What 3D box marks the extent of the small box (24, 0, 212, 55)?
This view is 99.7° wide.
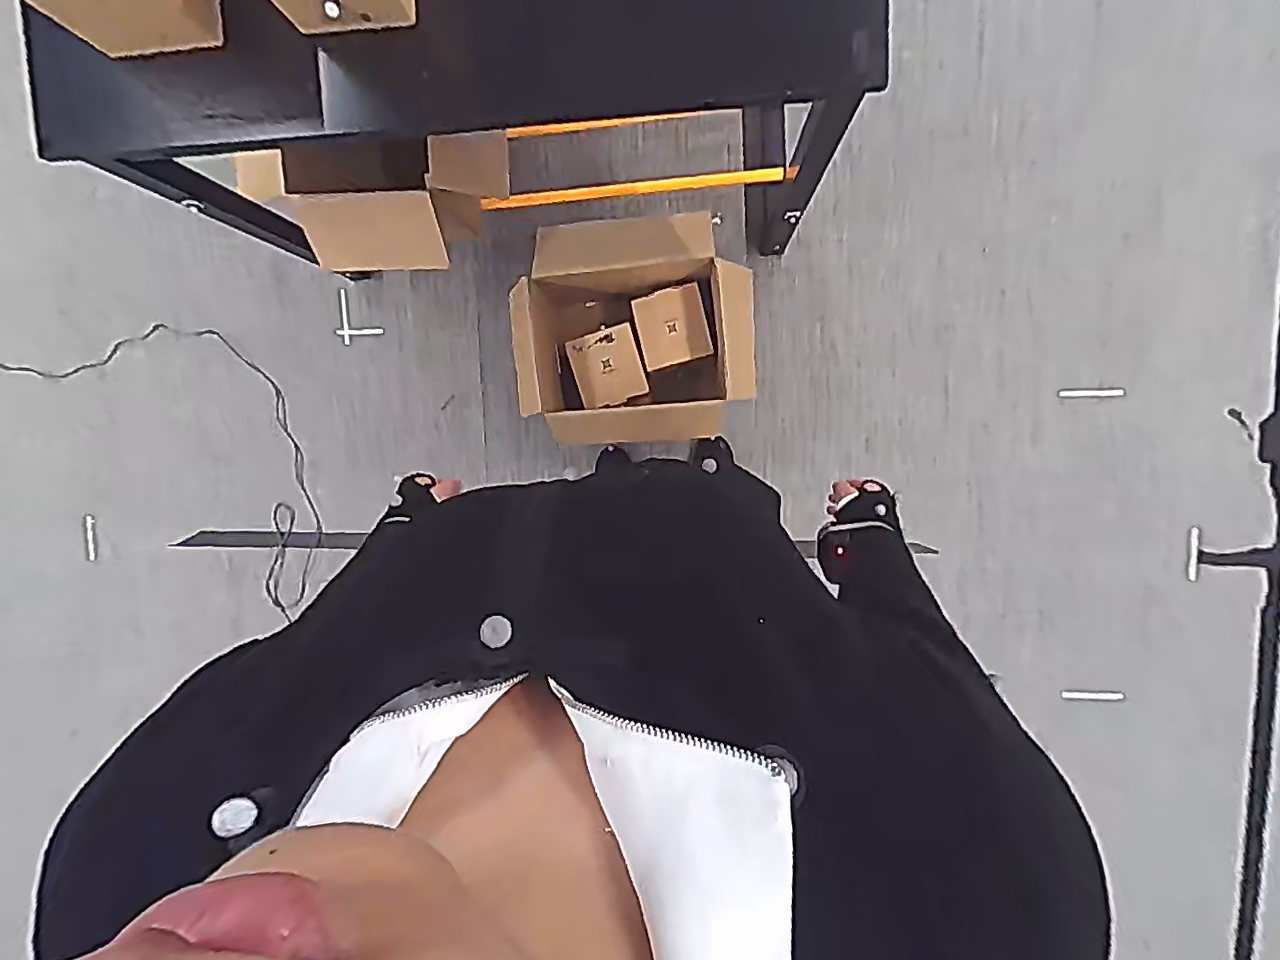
[{"bbox_3d":[-0.679,-0.678,0.676,0.179,0.176,0.168,-2,94,4],"label":"small box"}]

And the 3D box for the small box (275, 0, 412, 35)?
[{"bbox_3d":[-0.395,-0.692,0.653,0.168,0.176,0.179,0,95,5],"label":"small box"}]
